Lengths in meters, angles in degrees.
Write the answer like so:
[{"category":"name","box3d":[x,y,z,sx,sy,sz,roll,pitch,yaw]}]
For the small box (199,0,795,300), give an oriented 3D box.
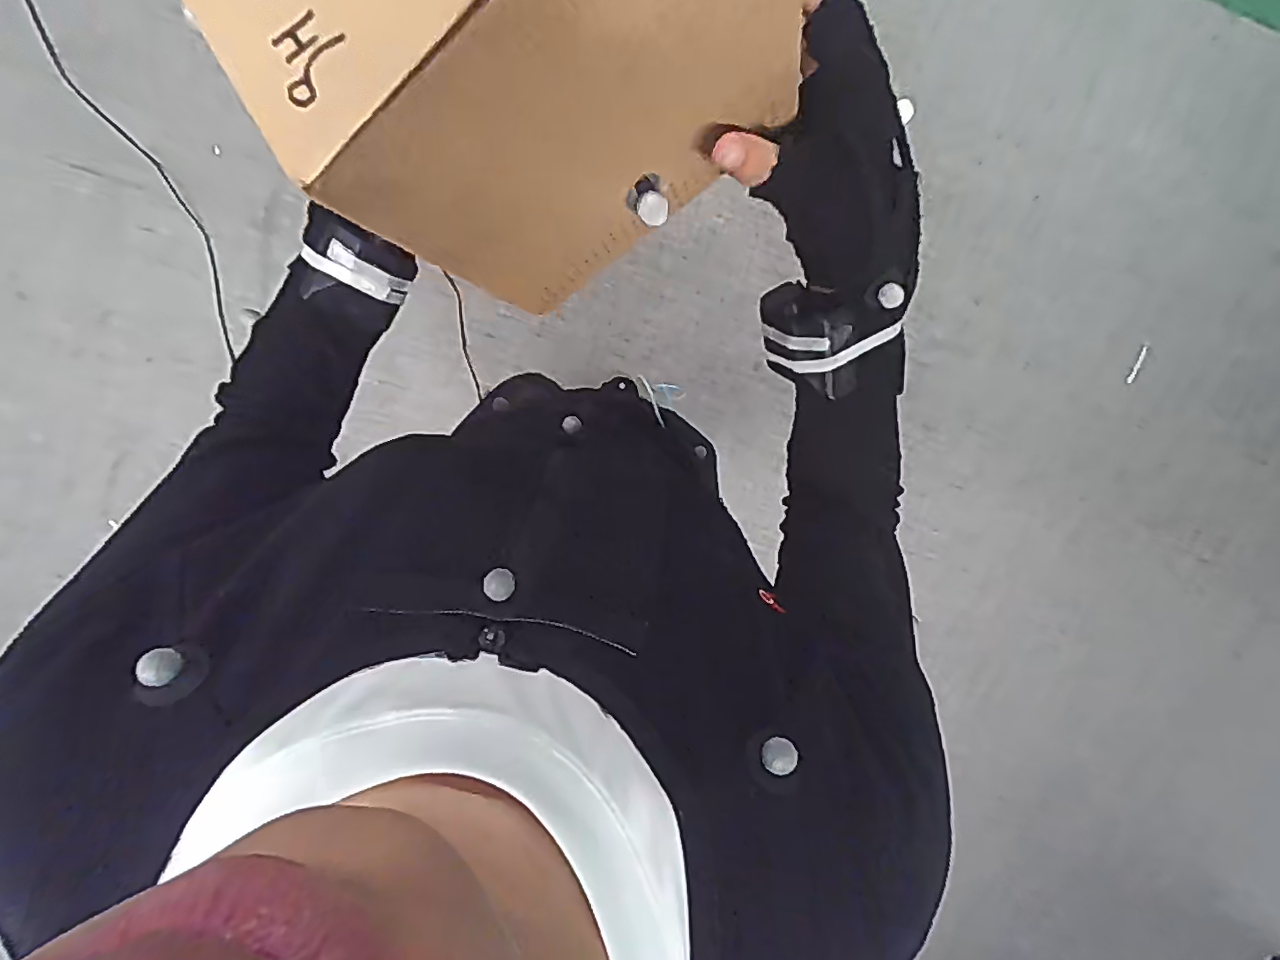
[{"category":"small box","box3d":[-0.050,-0.206,0.221,0.179,0.176,0.168,-33,85,14]}]
